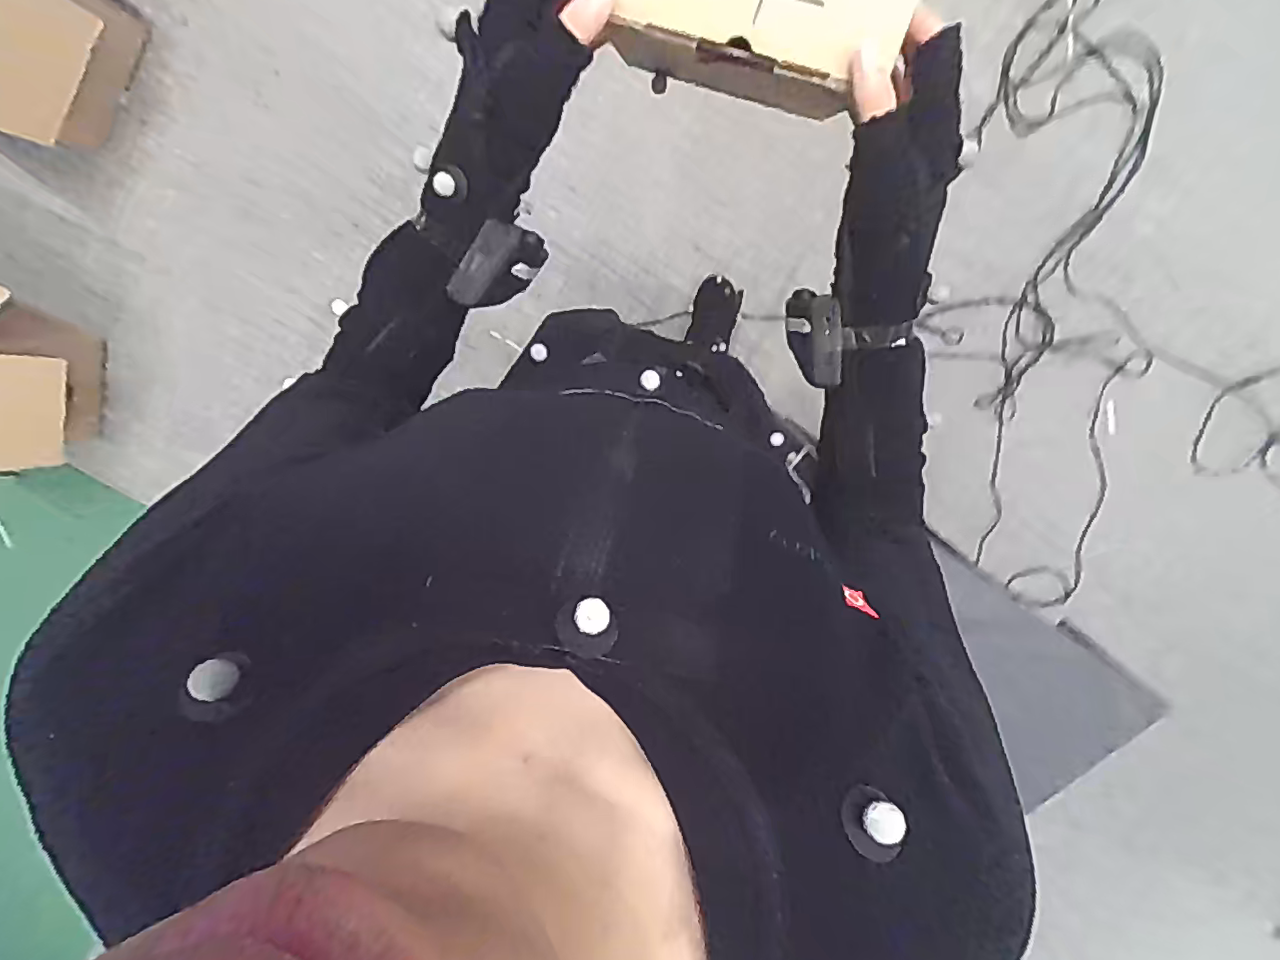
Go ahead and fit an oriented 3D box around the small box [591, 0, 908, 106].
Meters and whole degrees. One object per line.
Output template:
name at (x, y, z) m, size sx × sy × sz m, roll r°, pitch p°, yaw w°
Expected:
small box at (0.078, -0.345, 0.318) m, size 0.168 × 0.176 × 0.179 m, roll 13°, pitch 119°, yaw -2°
